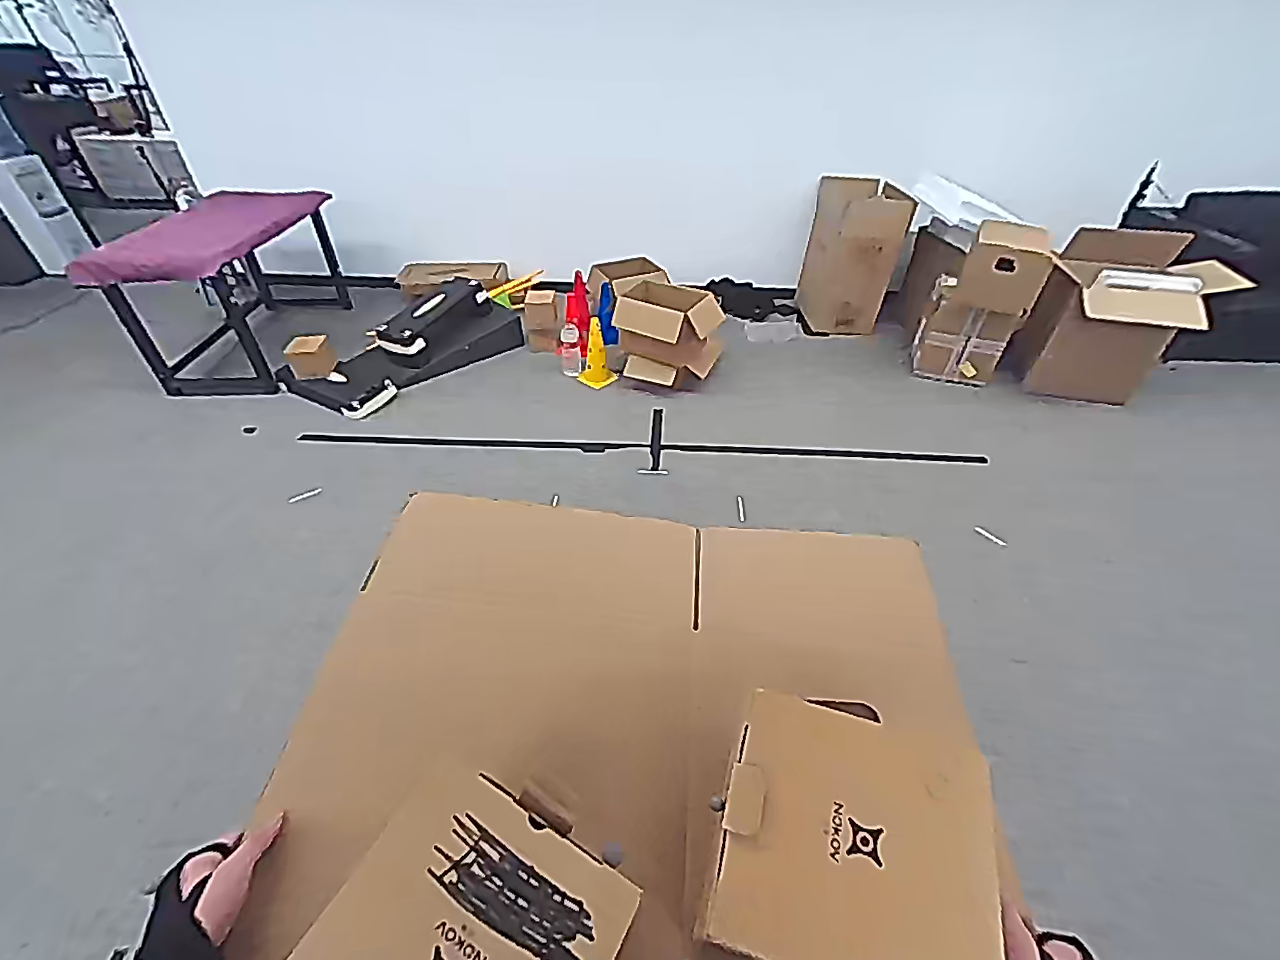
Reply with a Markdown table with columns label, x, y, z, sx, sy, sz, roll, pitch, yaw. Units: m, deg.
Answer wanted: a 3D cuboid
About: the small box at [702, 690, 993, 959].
| label | x | y | z | sx | sy | sz | roll | pitch | yaw |
| --- | --- | --- | --- | --- | --- | --- | --- | --- | --- |
| small box | 0.155 | 0.303 | 0.442 | 0.179 | 0.176 | 0.168 | 11 | 50 | 15 |
